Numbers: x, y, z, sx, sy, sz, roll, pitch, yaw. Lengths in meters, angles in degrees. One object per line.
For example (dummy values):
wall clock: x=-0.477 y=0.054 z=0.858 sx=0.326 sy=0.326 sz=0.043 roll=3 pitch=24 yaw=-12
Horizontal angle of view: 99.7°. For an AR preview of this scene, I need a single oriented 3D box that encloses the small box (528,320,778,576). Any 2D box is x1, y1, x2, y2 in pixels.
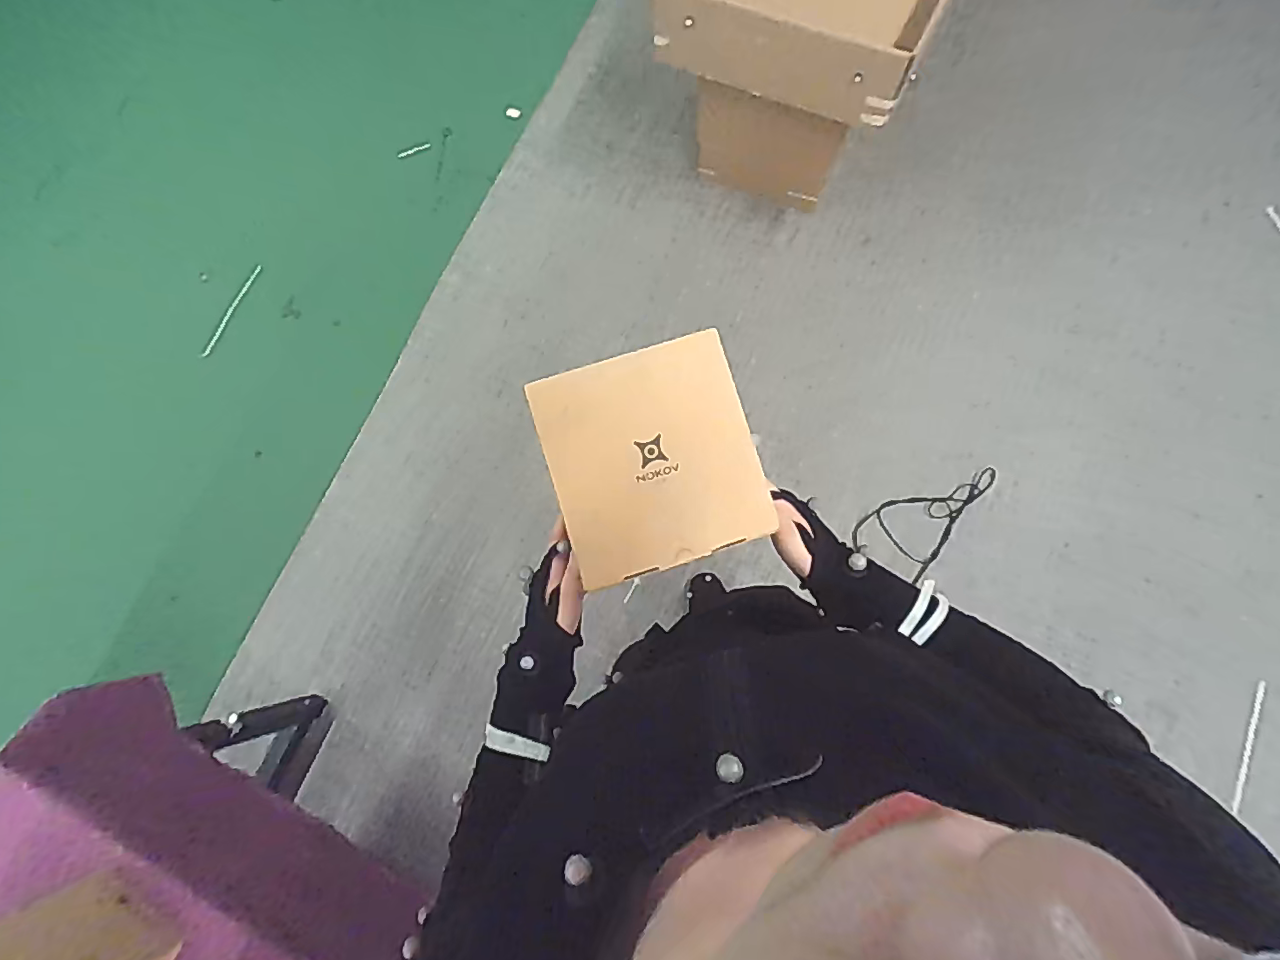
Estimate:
small box: x=0.006 y=-0.022 z=0.512 sx=0.168 sy=0.176 sz=0.179 roll=-17 pitch=88 yaw=-3
